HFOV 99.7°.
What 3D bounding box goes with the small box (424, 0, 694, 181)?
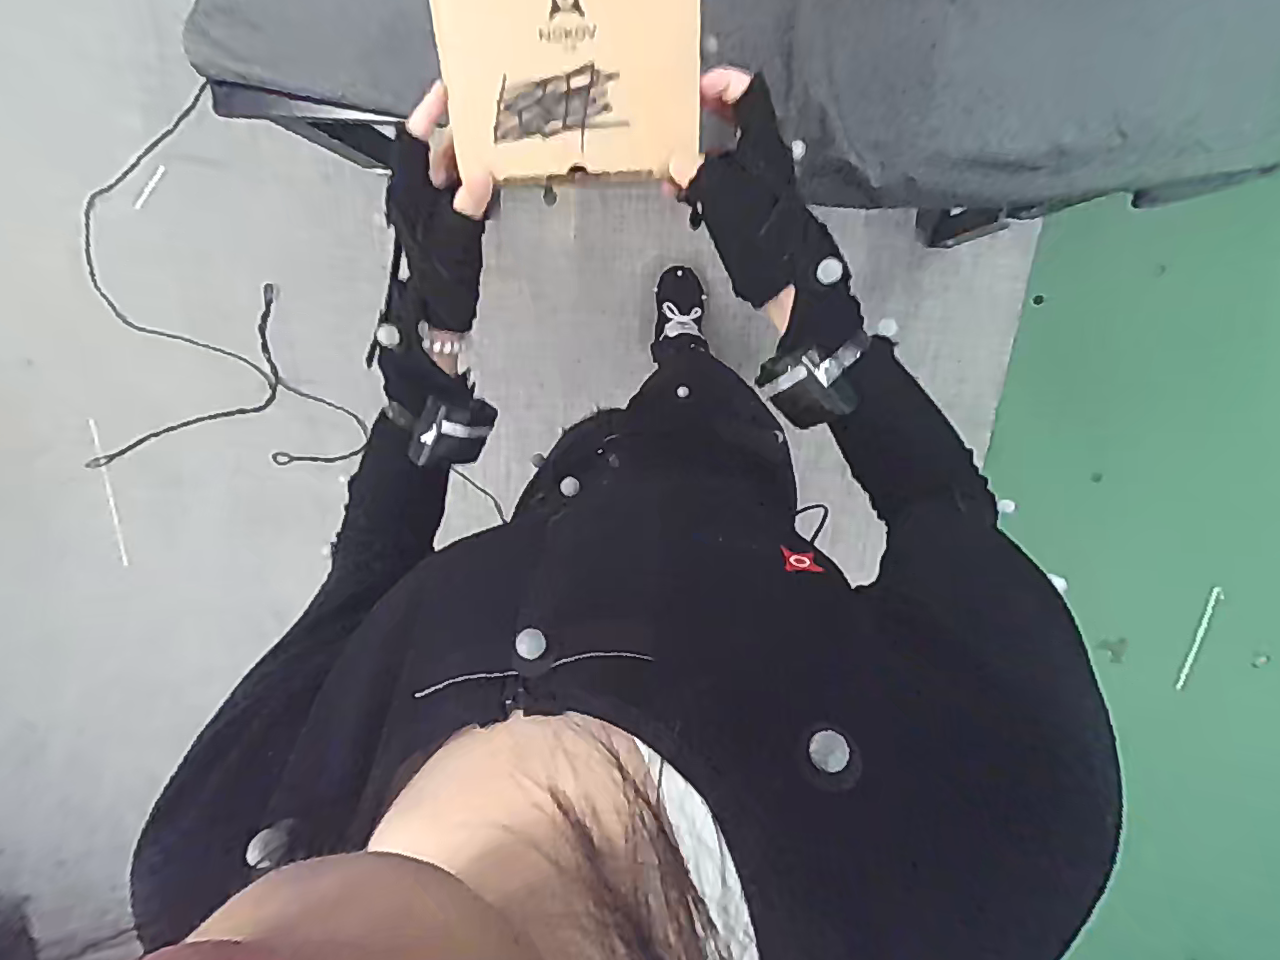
[{"bbox_3d":[-0.044,-0.323,0.398,0.168,0.176,0.179,0,116,5],"label":"small box"}]
